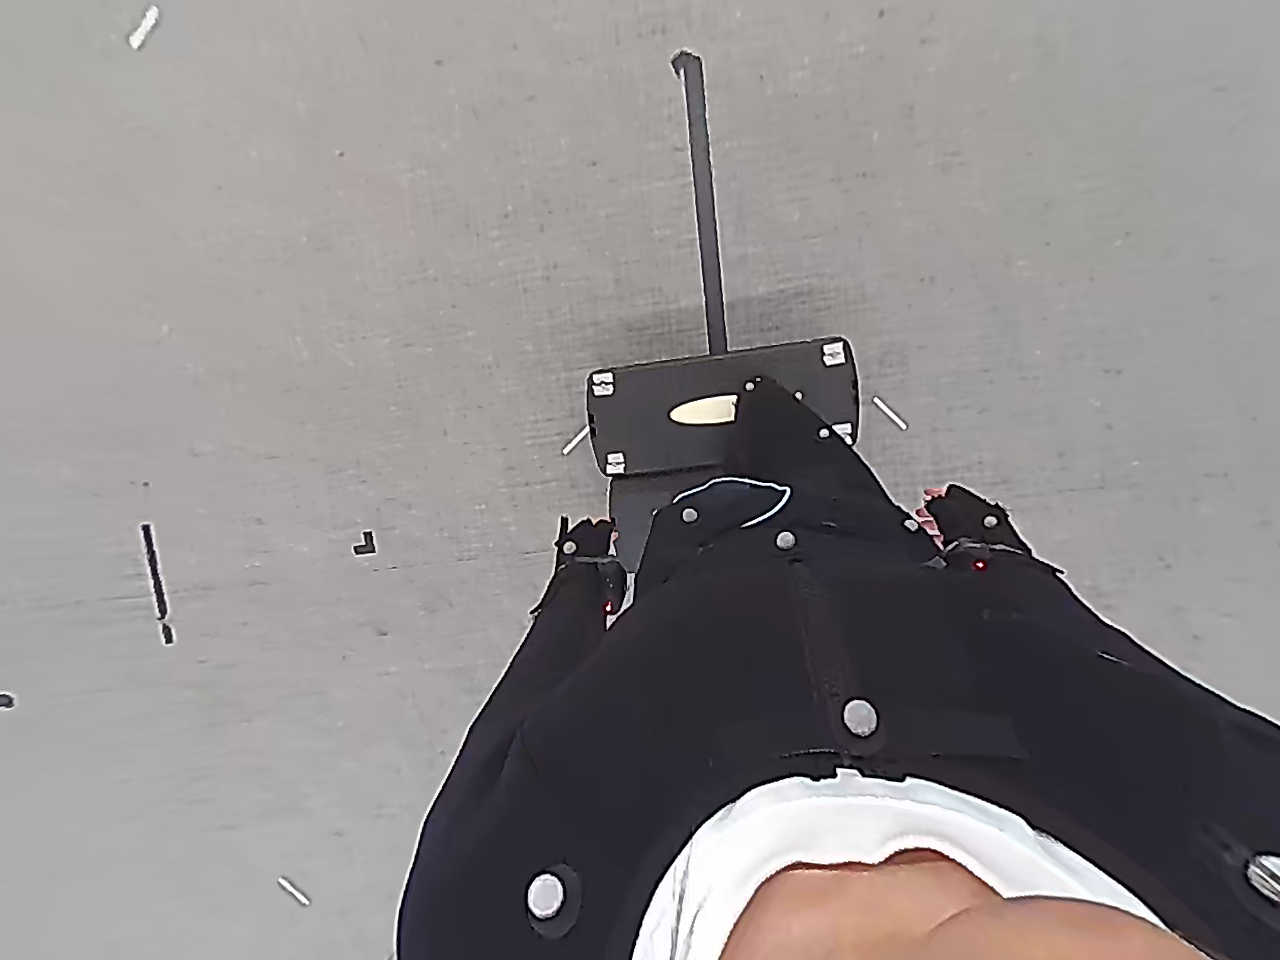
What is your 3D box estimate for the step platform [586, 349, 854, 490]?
[{"bbox_3d":[0.200,-0.157,1.429,0.684,0.204,0.286,-8,98,5],"label":"step platform"}]
